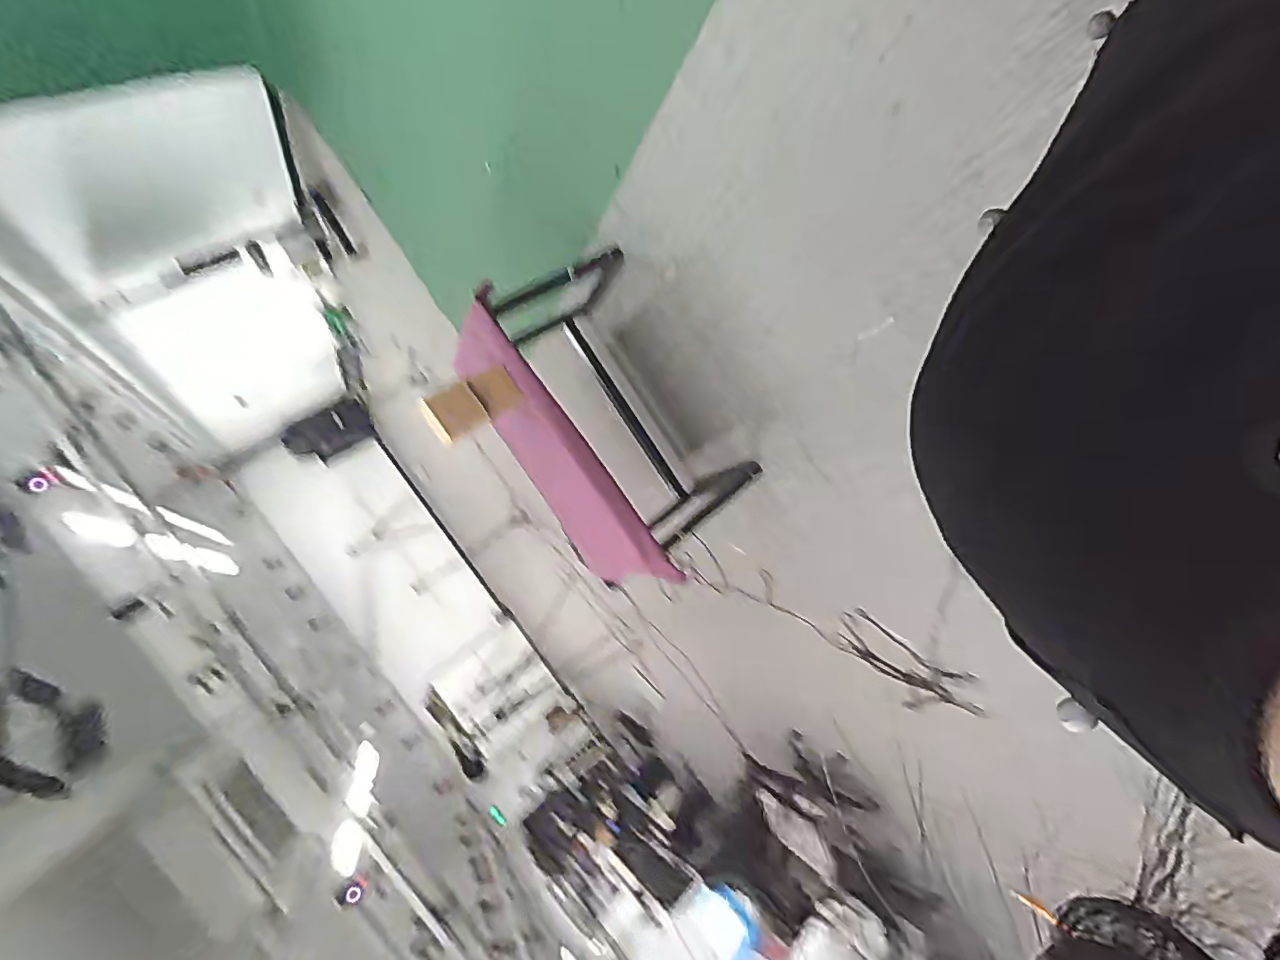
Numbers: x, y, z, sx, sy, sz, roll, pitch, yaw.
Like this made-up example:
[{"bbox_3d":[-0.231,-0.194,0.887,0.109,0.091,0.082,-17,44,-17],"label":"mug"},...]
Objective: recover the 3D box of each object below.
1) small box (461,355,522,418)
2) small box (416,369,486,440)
[{"bbox_3d":[-0.586,-0.361,2.072,0.179,0.176,0.168,59,154,-15],"label":"small box"},{"bbox_3d":[-0.690,-0.275,1.975,0.179,0.176,0.168,57,154,-9],"label":"small box"}]
